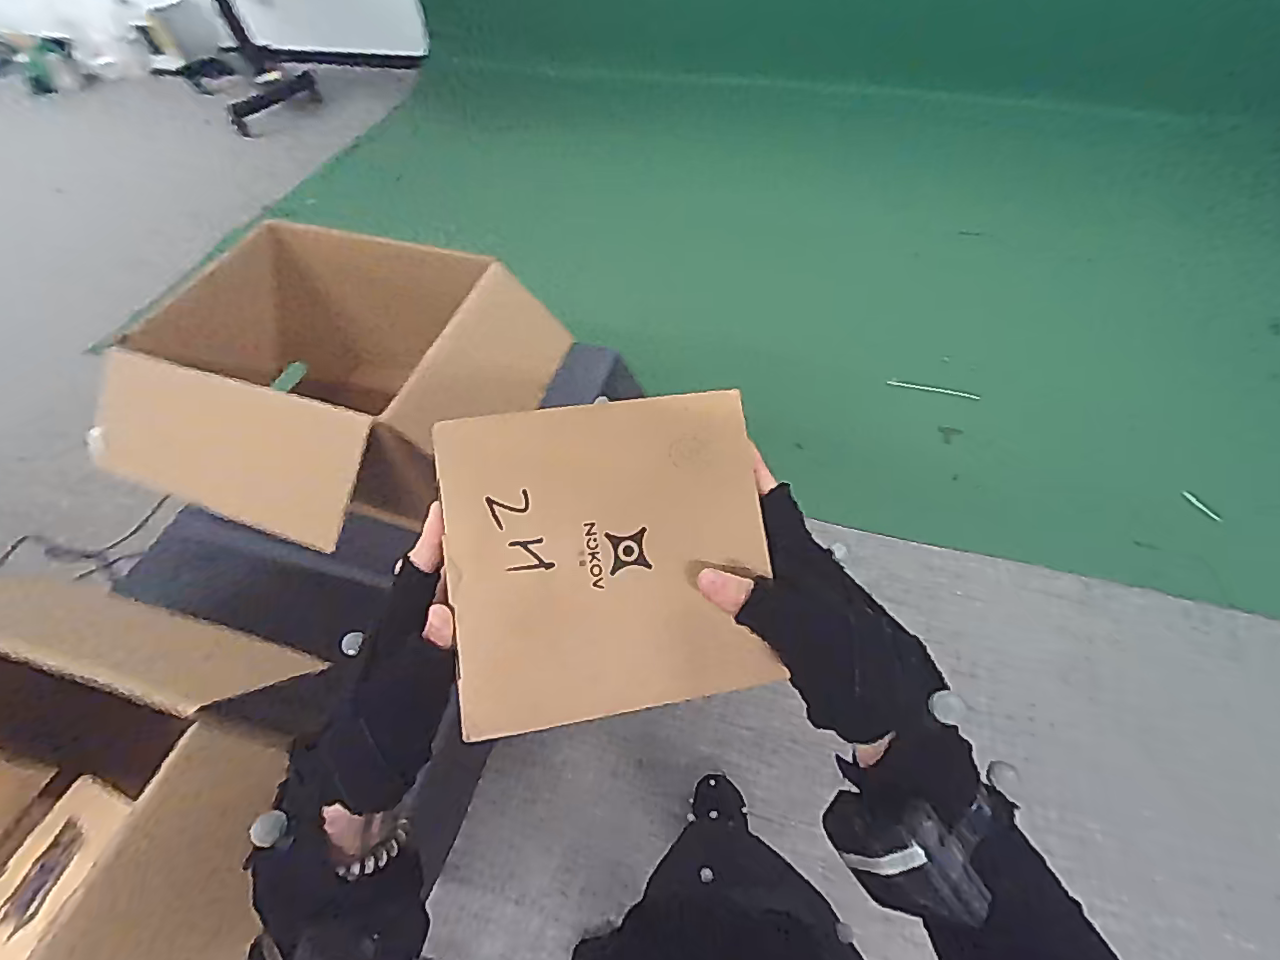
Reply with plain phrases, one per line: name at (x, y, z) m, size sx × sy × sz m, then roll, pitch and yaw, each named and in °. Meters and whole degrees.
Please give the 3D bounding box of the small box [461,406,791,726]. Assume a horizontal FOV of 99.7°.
small box at (-0.019, 0.054, 0.382) m, size 0.179 × 0.176 × 0.168 m, roll -6°, pitch 81°, yaw -9°
